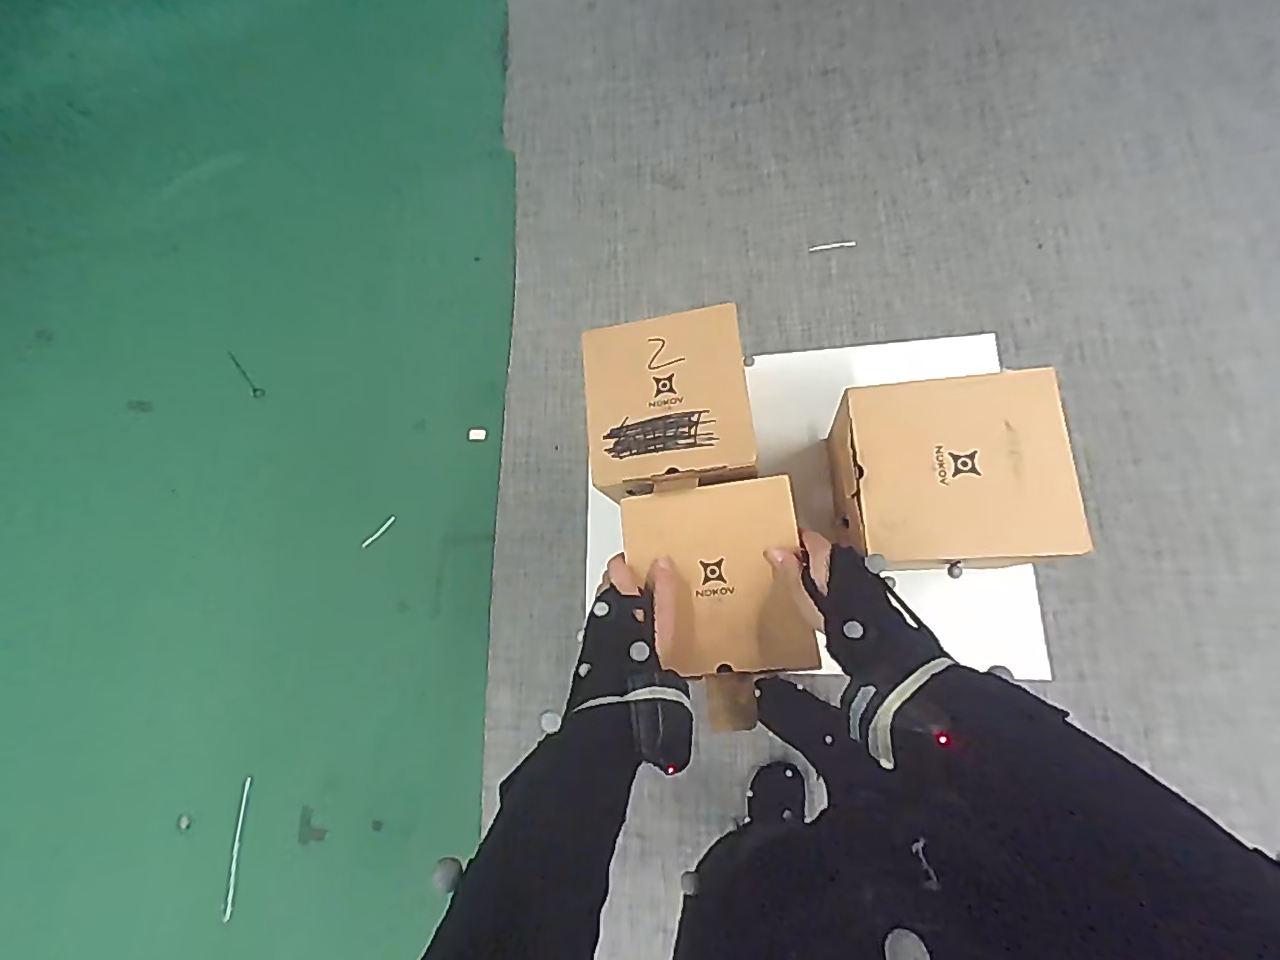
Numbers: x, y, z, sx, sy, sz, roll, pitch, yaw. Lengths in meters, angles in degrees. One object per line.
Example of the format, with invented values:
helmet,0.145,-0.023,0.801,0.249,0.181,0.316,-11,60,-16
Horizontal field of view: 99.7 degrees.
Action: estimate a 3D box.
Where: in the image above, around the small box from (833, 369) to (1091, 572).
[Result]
small box,0.298,0.005,0.549,0.179,0.176,0.168,-4,77,12
